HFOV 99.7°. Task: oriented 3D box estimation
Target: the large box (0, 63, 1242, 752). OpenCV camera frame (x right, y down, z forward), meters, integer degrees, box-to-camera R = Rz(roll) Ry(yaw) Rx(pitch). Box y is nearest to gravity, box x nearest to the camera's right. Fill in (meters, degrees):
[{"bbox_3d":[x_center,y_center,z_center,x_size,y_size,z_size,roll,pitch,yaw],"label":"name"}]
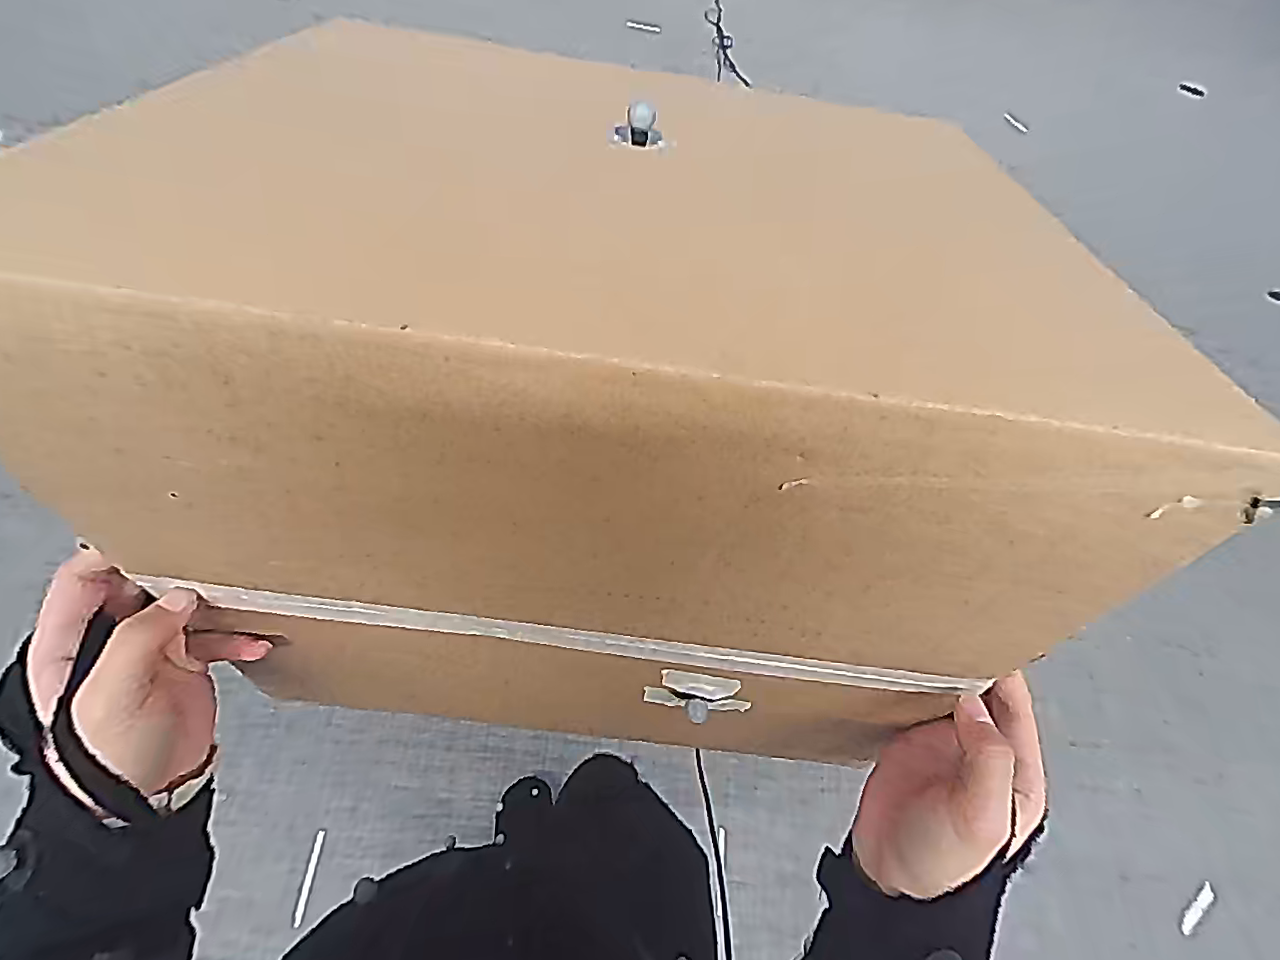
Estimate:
[{"bbox_3d":[-0.024,-0.041,0.364,0.408,0.320,0.320,7,49,-2],"label":"large box"}]
